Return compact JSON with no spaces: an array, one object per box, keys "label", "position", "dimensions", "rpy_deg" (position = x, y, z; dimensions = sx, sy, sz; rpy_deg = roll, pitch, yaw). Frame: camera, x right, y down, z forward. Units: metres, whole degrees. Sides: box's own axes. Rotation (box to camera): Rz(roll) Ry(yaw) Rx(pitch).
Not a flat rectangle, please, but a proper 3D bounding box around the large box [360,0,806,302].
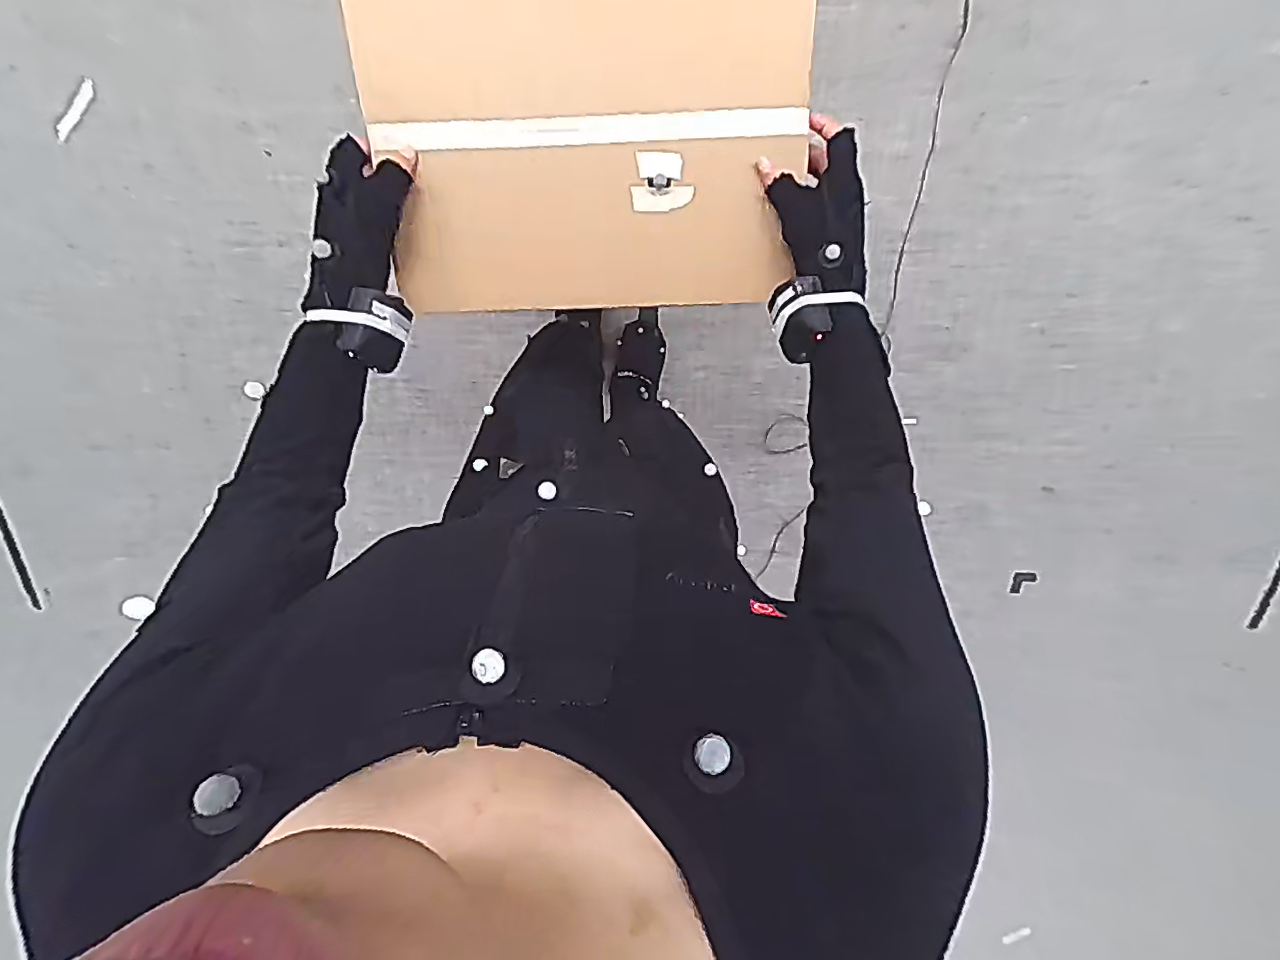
[{"label":"large box","position":[-0.049,-0.397,0.651],"dimensions":[0.408,0.320,0.320],"rpy_deg":[-2,113,0]}]
